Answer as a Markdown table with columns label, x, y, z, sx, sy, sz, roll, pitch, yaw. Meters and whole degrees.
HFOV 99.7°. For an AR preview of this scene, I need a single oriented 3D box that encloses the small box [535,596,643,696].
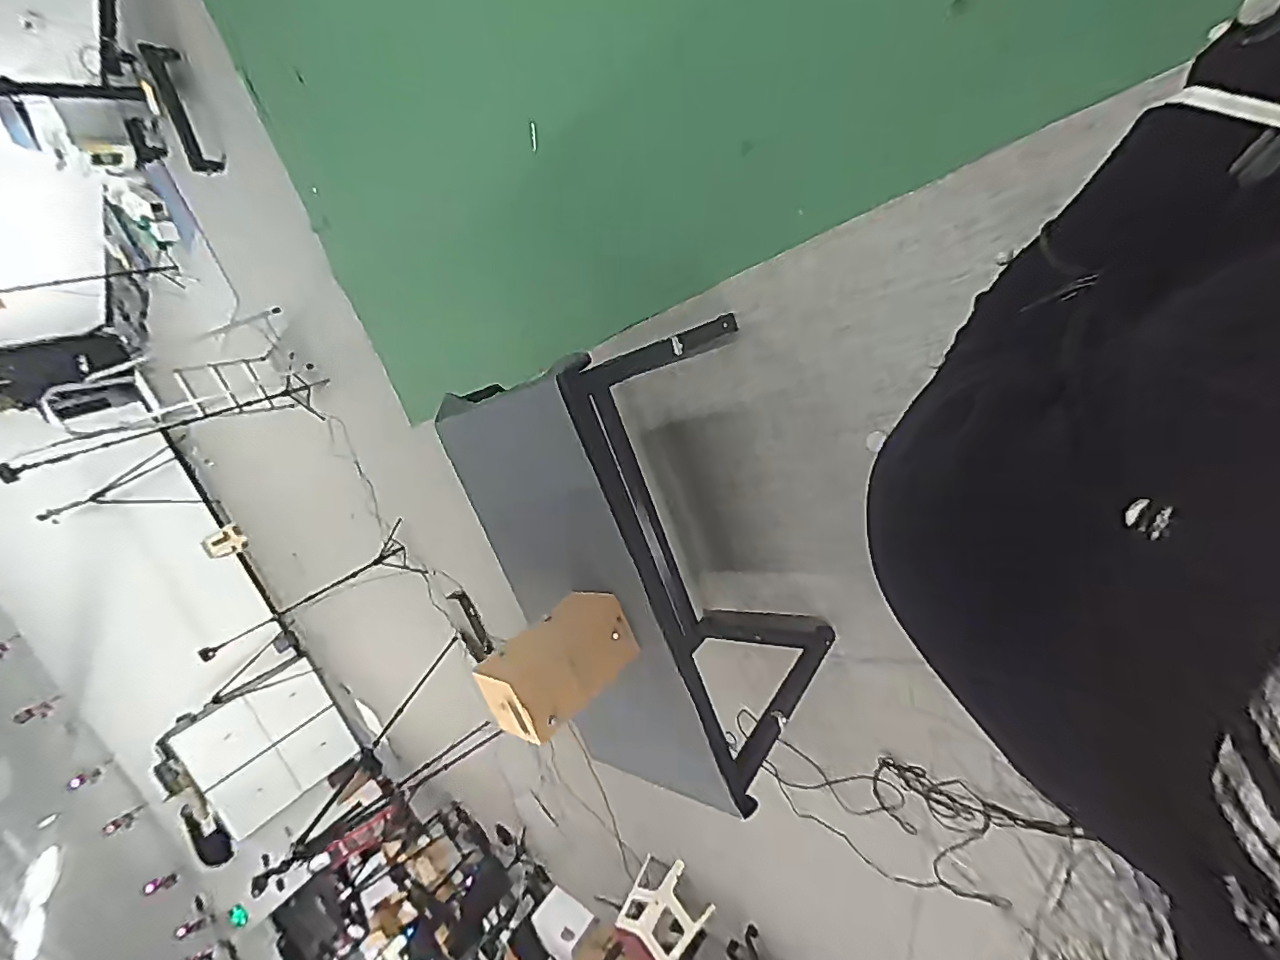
| label | x | y | z | sx | sy | sz | roll | pitch | yaw |
| --- | --- | --- | --- | --- | --- | --- | --- | --- | --- |
| small box | -0.124 | 0.404 | 1.351 | 0.179 | 0.176 | 0.168 | -10 | 107 | 45 |
